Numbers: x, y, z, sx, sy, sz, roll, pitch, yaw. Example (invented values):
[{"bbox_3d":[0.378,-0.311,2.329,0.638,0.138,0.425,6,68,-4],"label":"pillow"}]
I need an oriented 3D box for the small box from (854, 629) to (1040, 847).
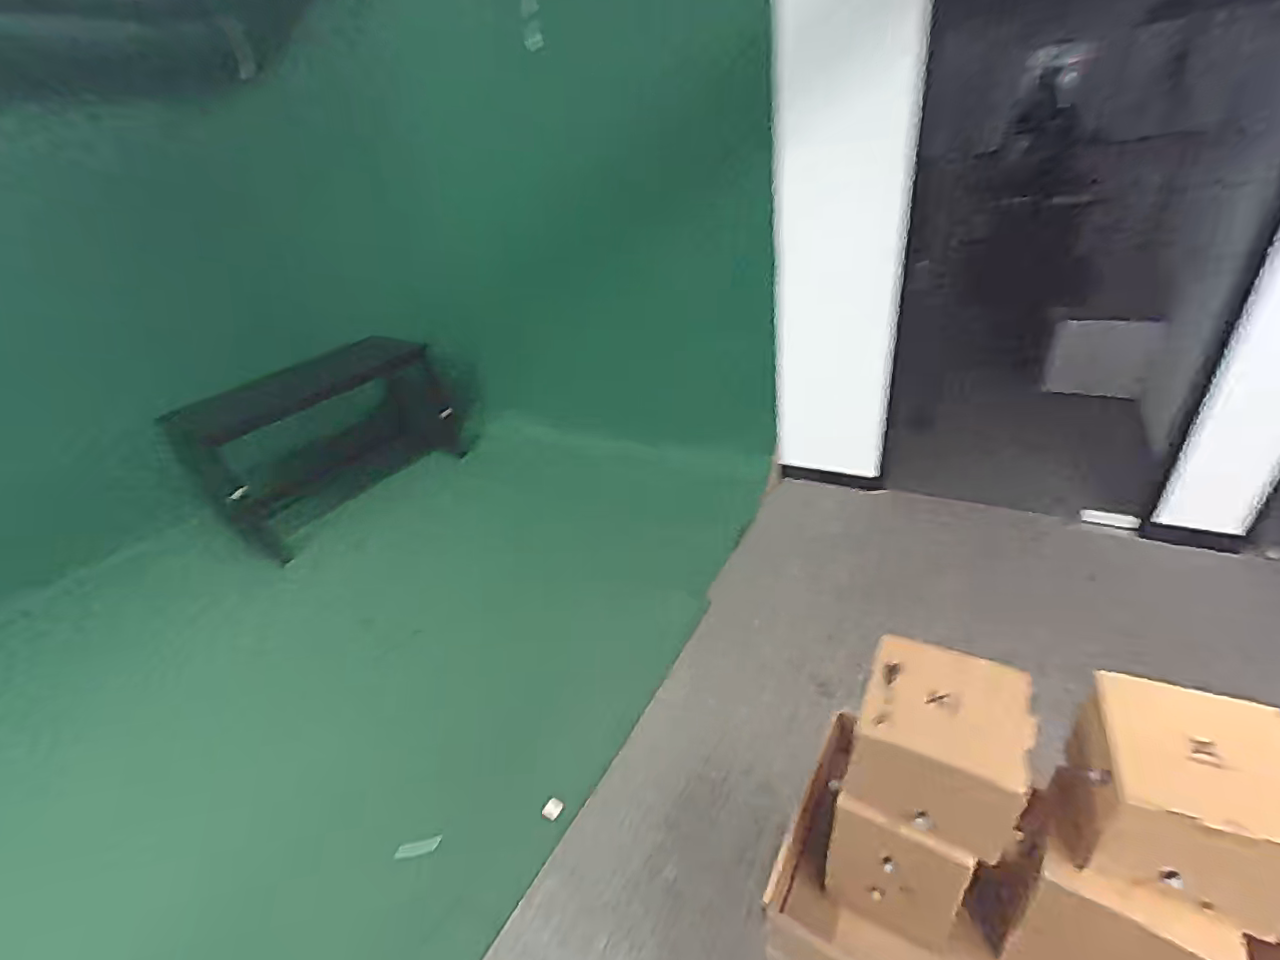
[{"bbox_3d":[0.392,0.333,0.703,0.179,0.176,0.168,12,38,30],"label":"small box"}]

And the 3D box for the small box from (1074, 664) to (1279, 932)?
[{"bbox_3d":[0.623,0.351,0.615,0.168,0.176,0.179,8,36,28],"label":"small box"}]
